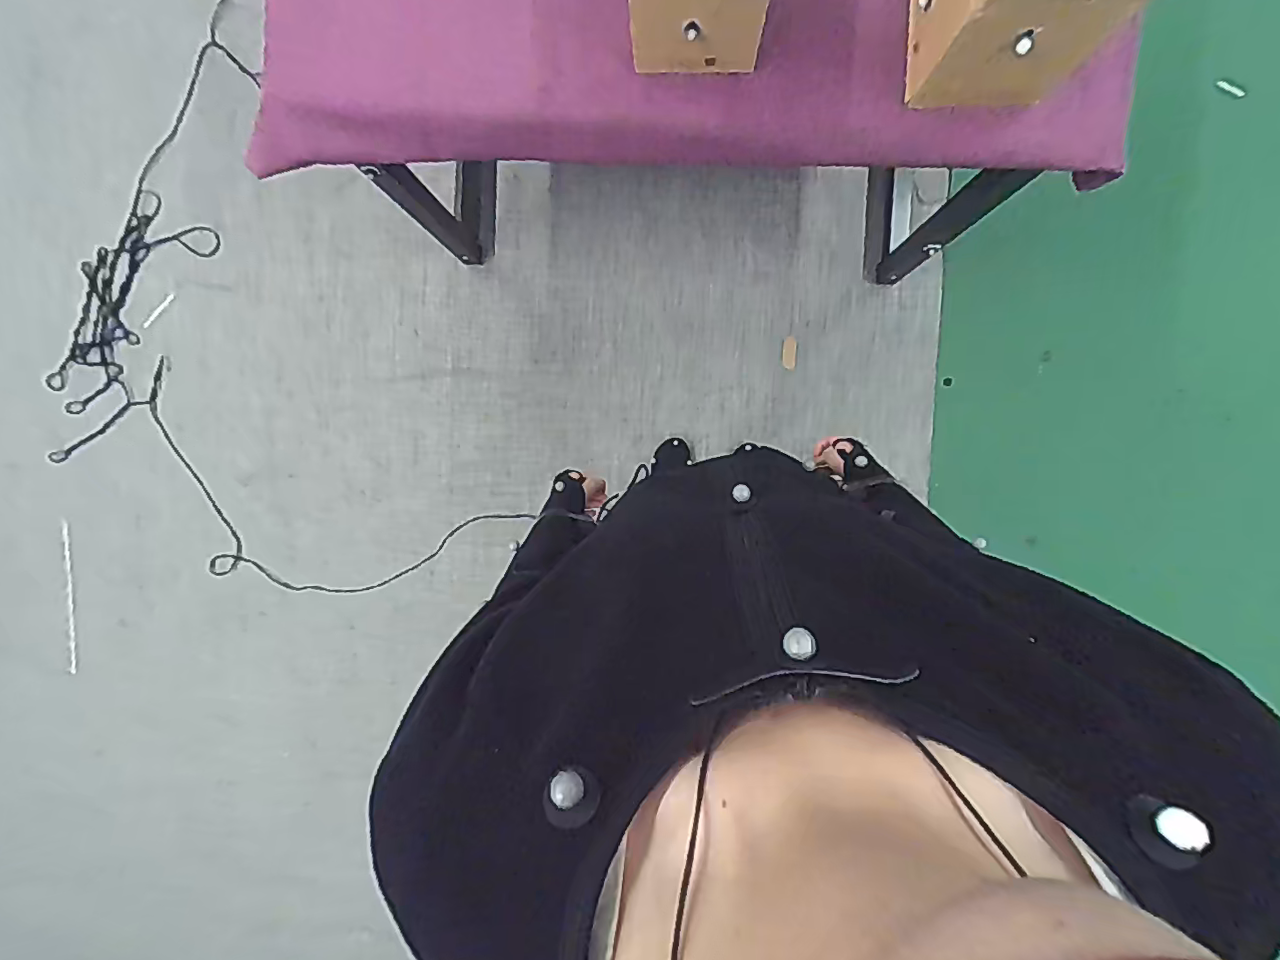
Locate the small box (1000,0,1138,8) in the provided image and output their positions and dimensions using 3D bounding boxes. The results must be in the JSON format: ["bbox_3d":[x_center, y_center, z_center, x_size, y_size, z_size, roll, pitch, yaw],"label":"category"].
[{"bbox_3d":[0.442,-0.580,0.482,0.168,0.176,0.179,2,93,7],"label":"small box"}]

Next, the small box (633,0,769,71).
[{"bbox_3d":[0.080,-0.650,0.672,0.168,0.176,0.179,3,92,4],"label":"small box"}]

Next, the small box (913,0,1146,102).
[{"bbox_3d":[0.454,-0.587,0.646,0.179,0.176,0.168,1,94,6],"label":"small box"}]

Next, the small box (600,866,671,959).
[{"bbox_3d":[-0.007,1.182,1.458,0.179,0.176,0.168,-3,91,6],"label":"small box"}]
